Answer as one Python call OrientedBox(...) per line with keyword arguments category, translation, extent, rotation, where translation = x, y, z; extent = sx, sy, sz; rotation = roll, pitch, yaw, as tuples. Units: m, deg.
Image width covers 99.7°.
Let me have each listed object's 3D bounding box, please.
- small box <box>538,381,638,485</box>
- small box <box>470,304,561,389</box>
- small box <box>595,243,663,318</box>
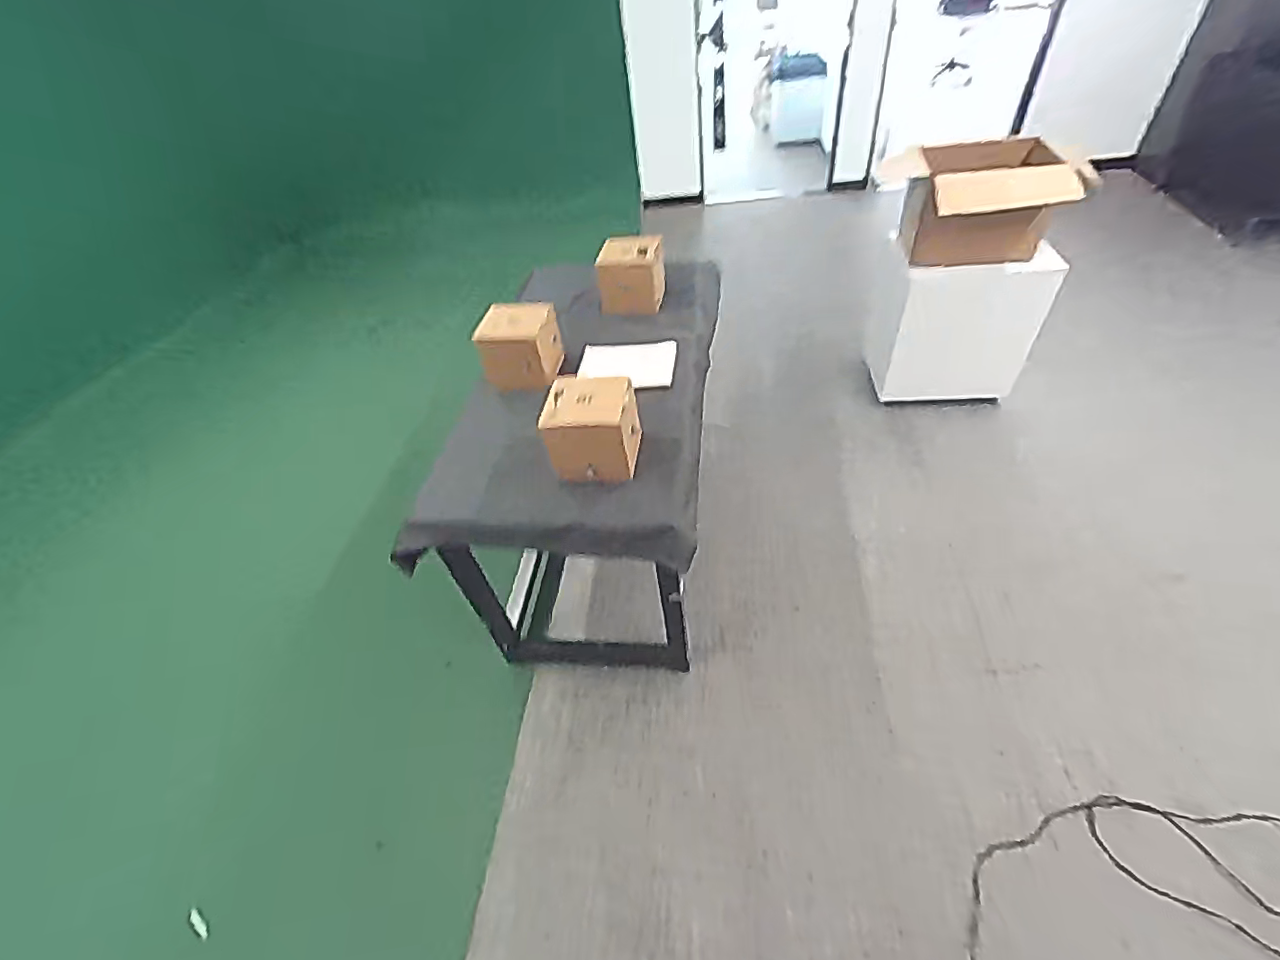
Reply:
OrientedBox(category="small box", translation=(-0.104, -0.102, 1.197), extent=(0.179, 0.176, 0.168), rotation=(1, 45, 10))
OrientedBox(category="small box", translation=(-0.326, -0.357, 1.461), extent=(0.179, 0.176, 0.168), rotation=(1, 45, 10))
OrientedBox(category="small box", translation=(-0.027, -0.622, 1.691), extent=(0.179, 0.176, 0.168), rotation=(3, 46, 12))
